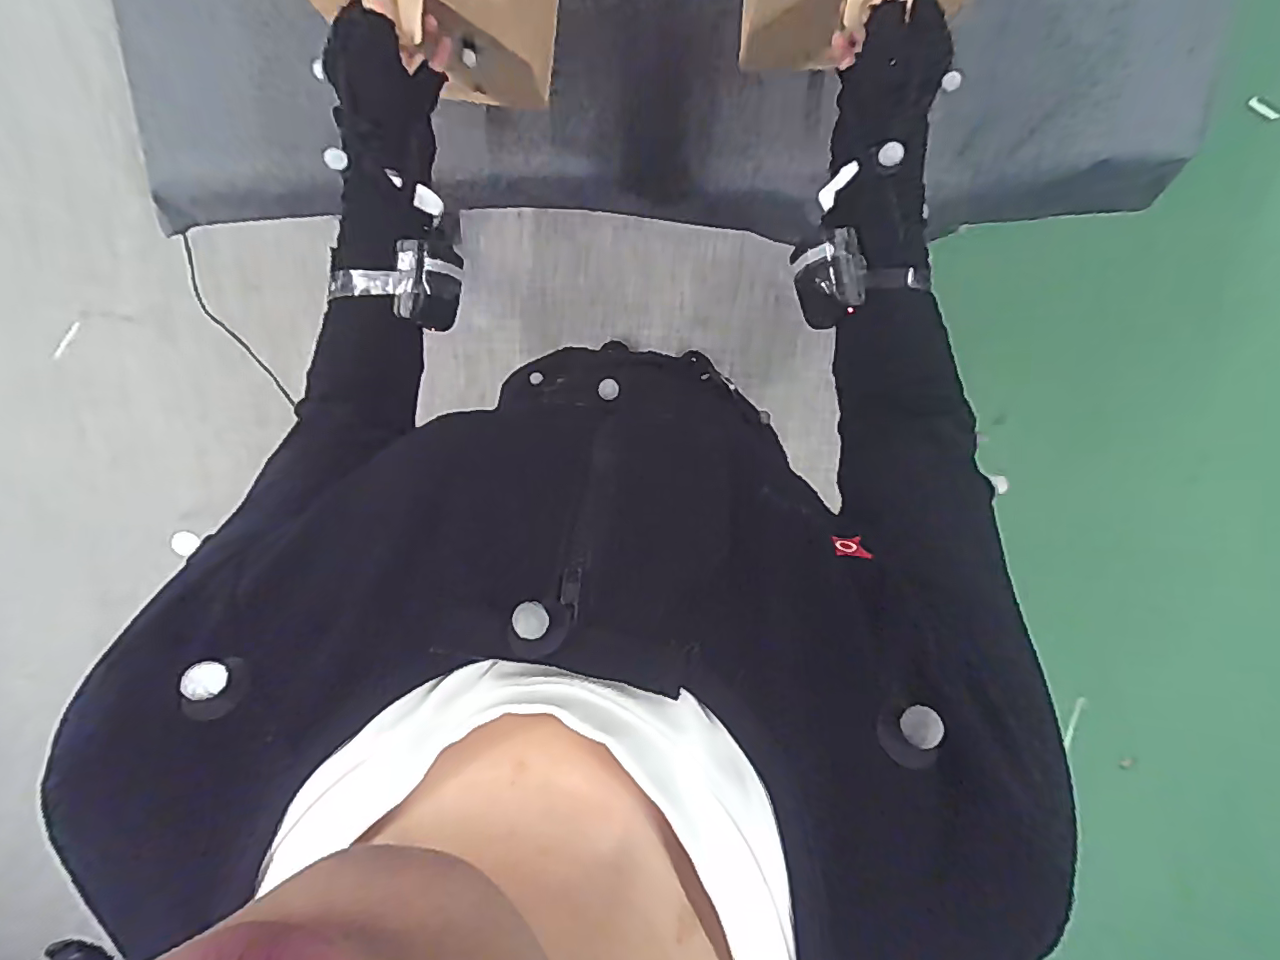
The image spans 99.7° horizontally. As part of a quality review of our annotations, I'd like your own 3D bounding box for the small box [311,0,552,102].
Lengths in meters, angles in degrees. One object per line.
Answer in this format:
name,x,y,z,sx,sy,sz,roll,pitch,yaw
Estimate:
small box,-0.165,-0.443,0.432,0.168,0.176,0.179,7,97,0
